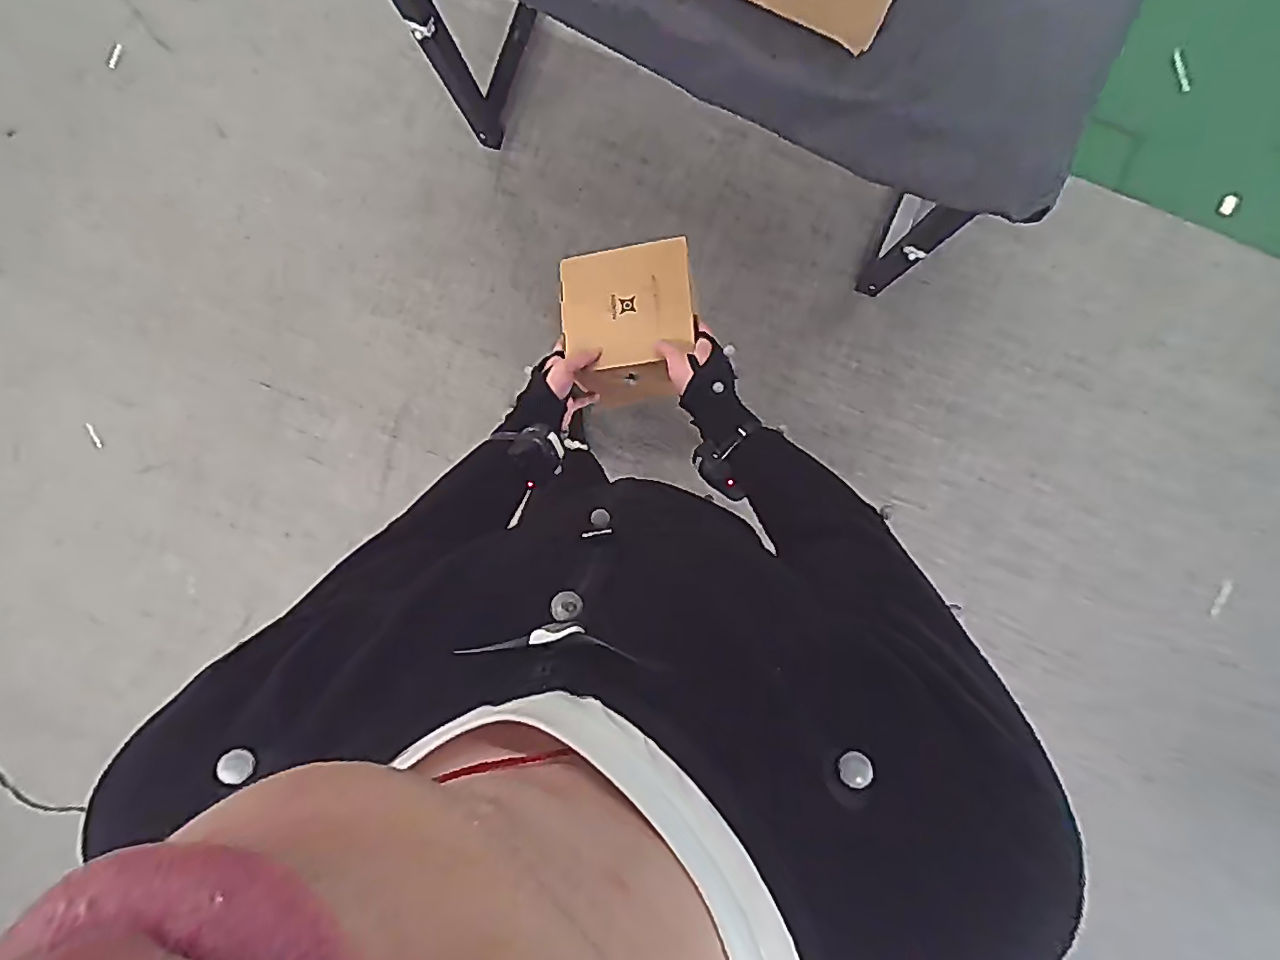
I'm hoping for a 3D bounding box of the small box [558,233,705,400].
[{"bbox_3d":[-0.005,-0.224,0.788,0.179,0.176,0.168,-7,82,9],"label":"small box"}]
